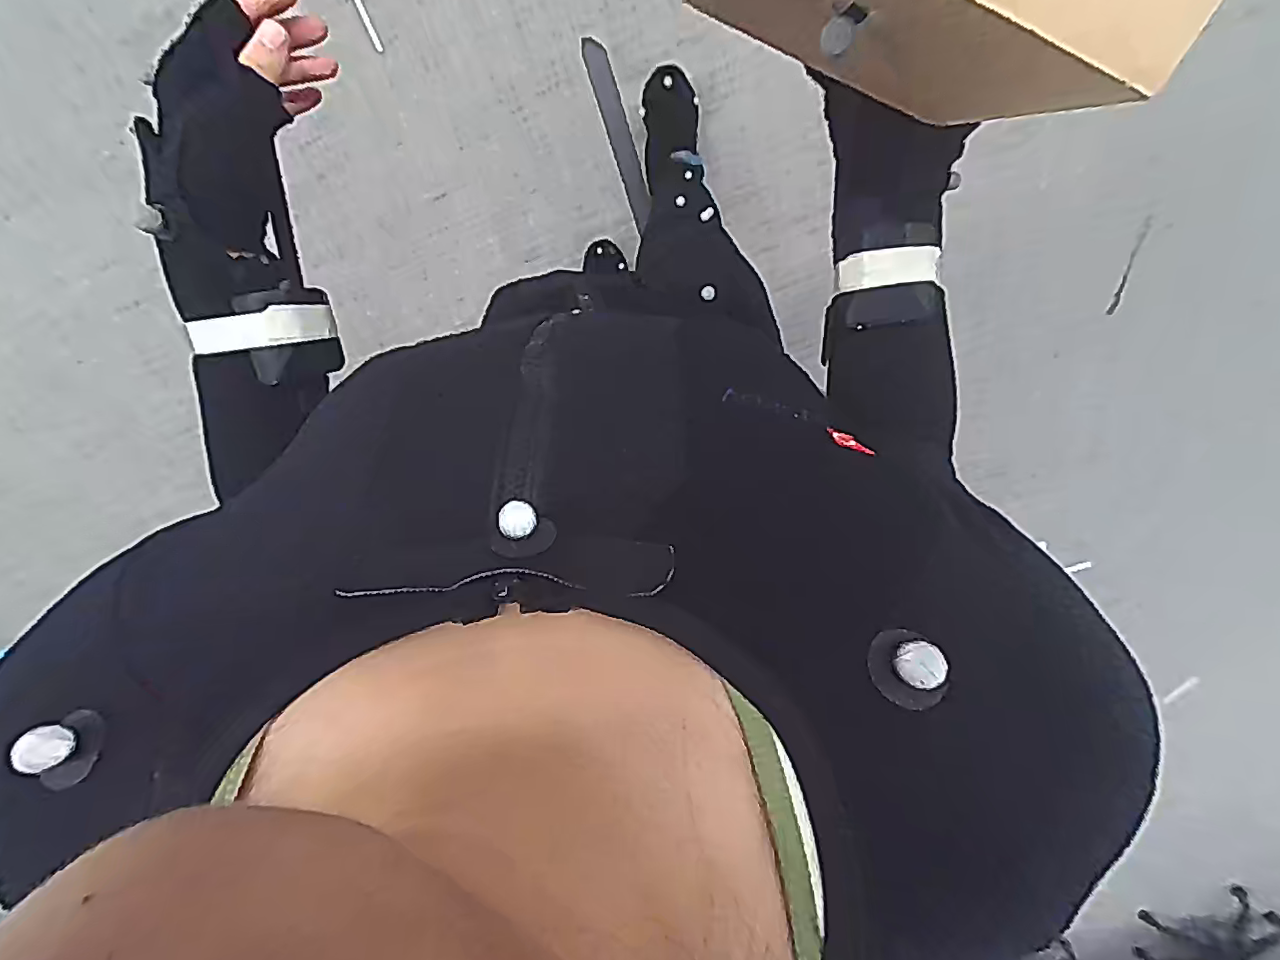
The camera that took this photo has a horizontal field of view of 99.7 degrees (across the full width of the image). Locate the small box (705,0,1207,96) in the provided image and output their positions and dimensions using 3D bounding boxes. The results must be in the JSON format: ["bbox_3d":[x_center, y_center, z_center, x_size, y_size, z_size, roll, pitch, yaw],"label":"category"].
[{"bbox_3d":[0.129,-0.278,0.211,0.179,0.176,0.168,15,119,-9],"label":"small box"}]
